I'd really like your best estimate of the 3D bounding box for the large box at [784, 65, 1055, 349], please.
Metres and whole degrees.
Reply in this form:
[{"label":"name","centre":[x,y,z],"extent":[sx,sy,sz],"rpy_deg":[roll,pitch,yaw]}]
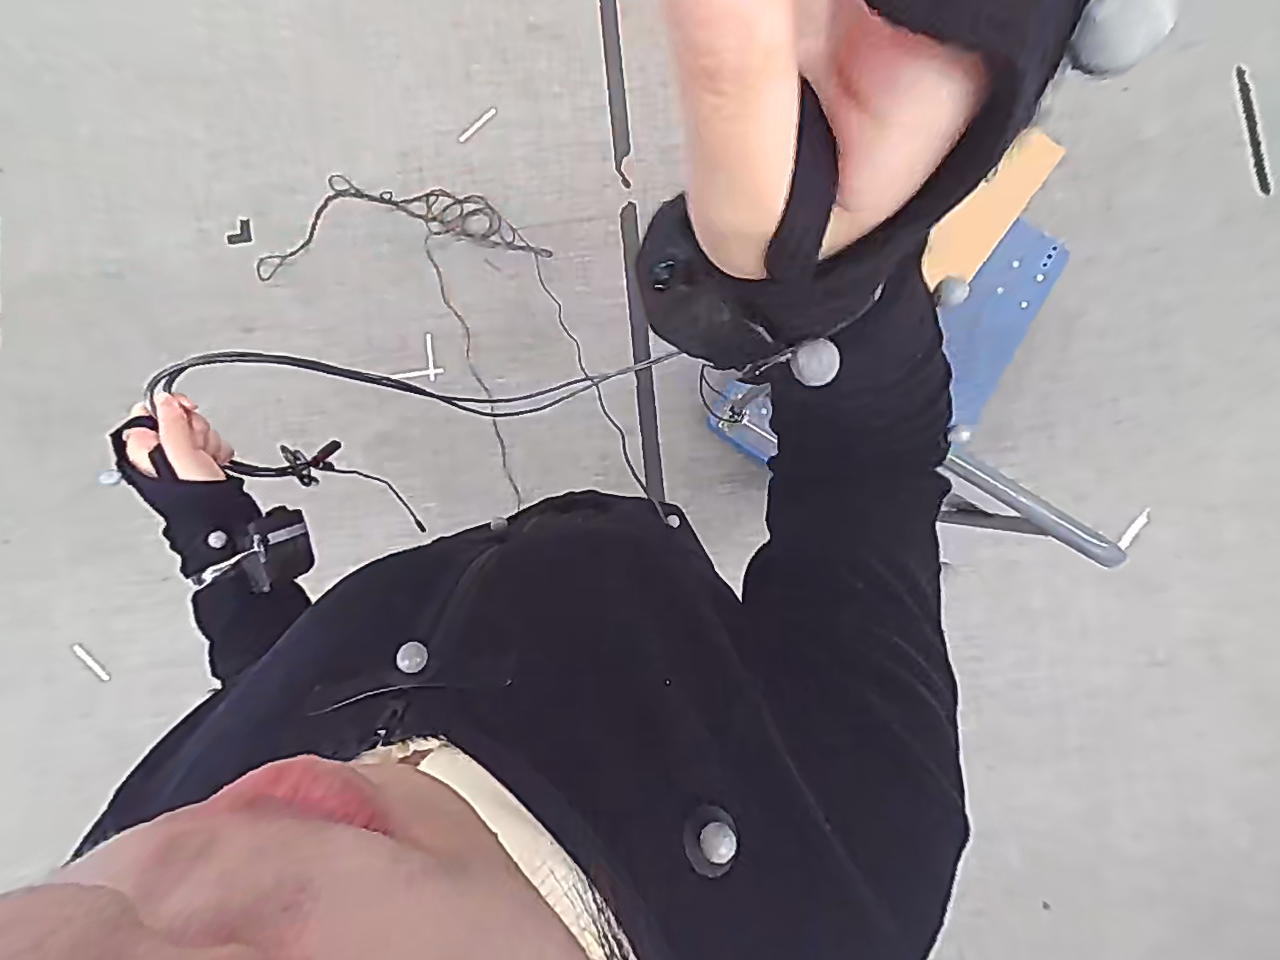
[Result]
[{"label":"large box","centre":[0.592,-0.578,1.220],"extent":[0.320,0.320,0.408],"rpy_deg":[37,87,1]}]
